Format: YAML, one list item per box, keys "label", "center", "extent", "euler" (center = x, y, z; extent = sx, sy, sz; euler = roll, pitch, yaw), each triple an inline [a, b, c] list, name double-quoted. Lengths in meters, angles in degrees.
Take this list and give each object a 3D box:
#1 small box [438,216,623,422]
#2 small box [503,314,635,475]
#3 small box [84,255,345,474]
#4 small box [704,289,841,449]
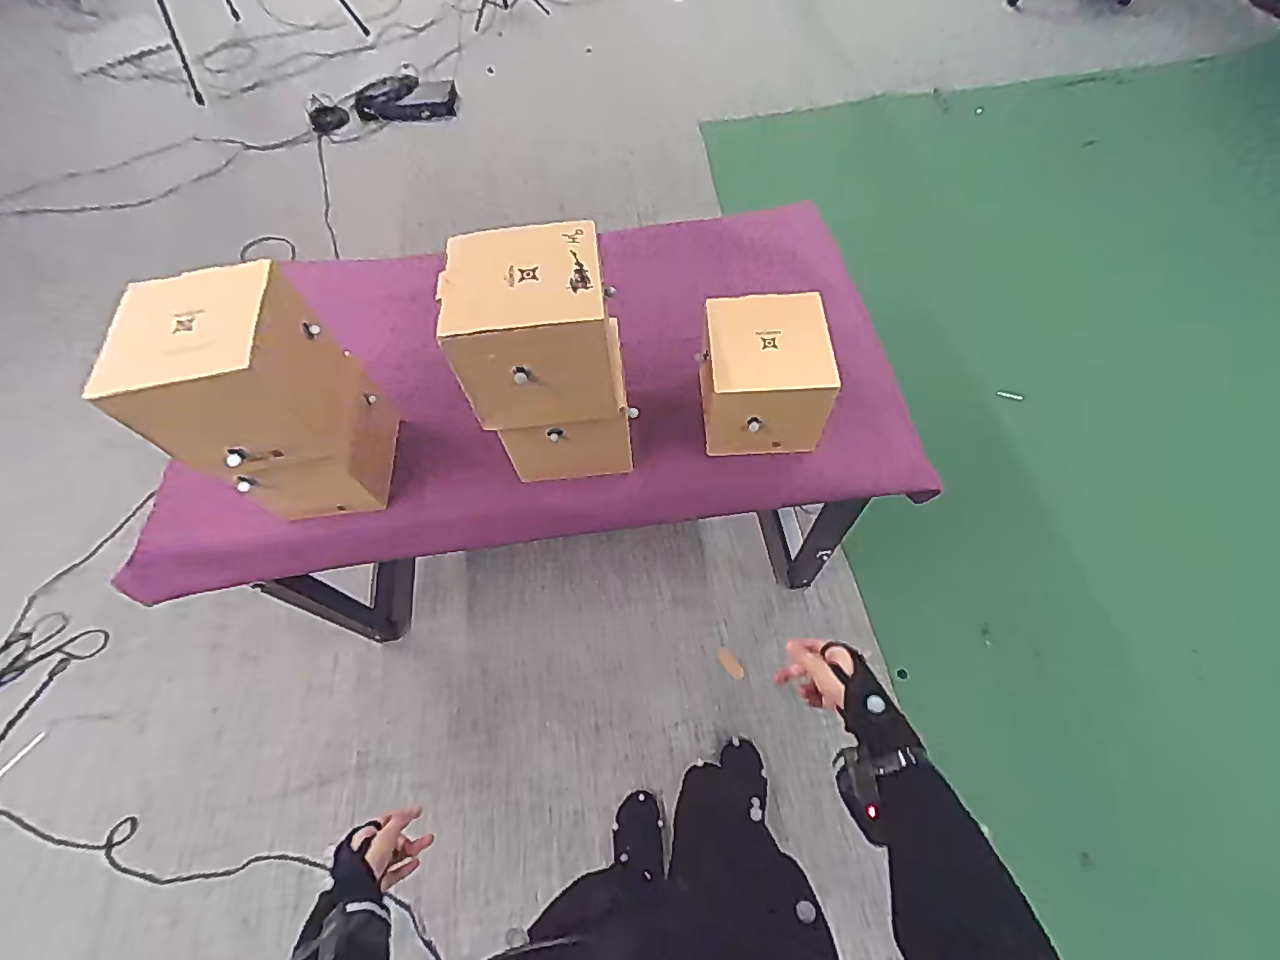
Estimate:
- label: "small box"
  center: [-0.121, -0.185, 0.654]
  extent: [0.179, 0.176, 0.168]
  euler: [-7, 61, 0]
- label: "small box"
  center: [-0.104, -0.119, 0.804]
  extent: [0.179, 0.176, 0.168]
  euler: [-5, 61, 0]
- label: "small box"
  center: [-0.479, -0.132, 0.646]
  extent: [0.168, 0.176, 0.179]
  euler: [-11, 61, -2]
- label: "small box"
  center: [0.184, -0.156, 0.808]
  extent: [0.168, 0.176, 0.179]
  euler: [-3, 61, 3]
